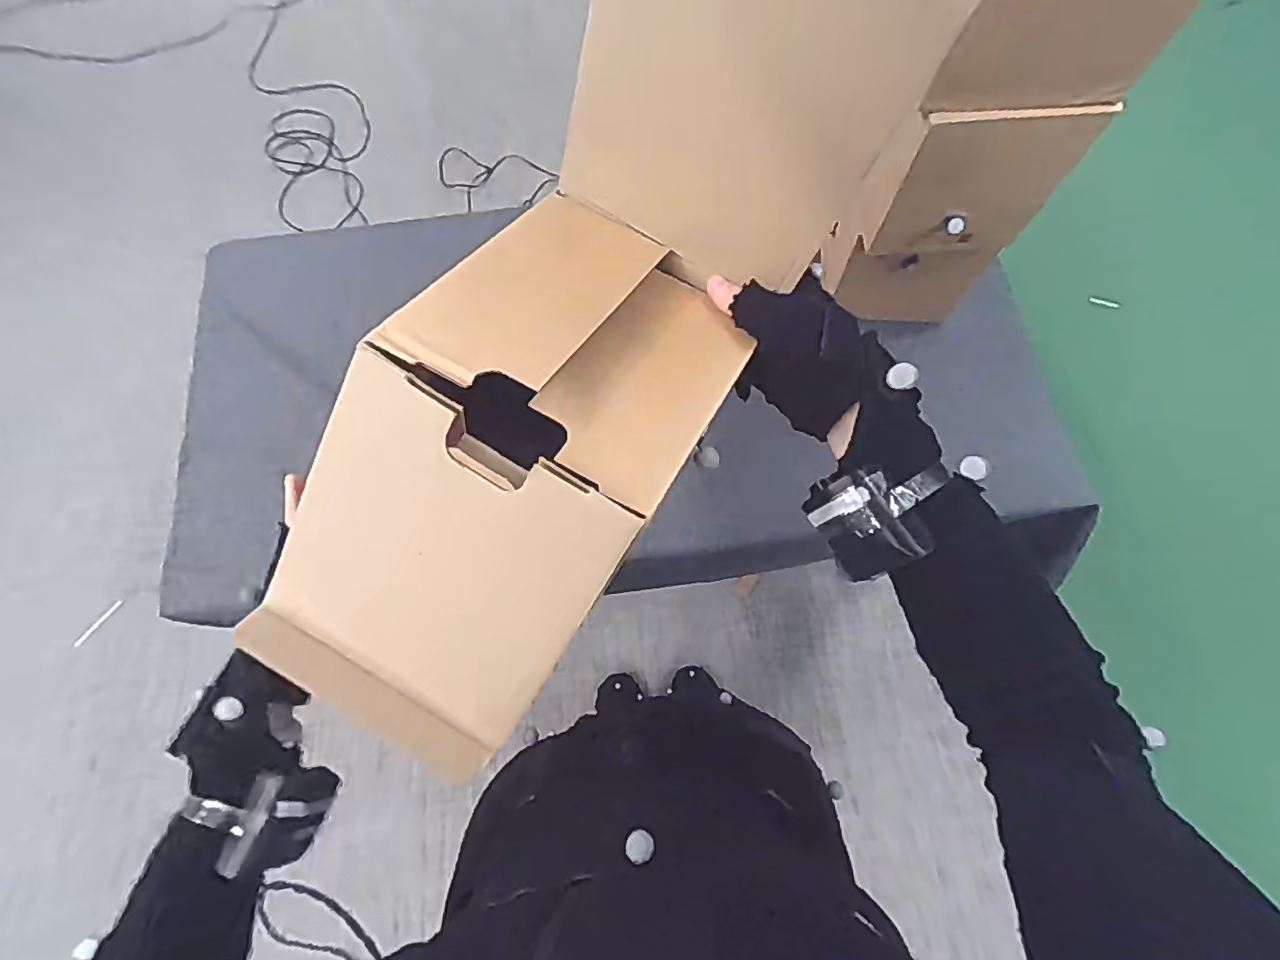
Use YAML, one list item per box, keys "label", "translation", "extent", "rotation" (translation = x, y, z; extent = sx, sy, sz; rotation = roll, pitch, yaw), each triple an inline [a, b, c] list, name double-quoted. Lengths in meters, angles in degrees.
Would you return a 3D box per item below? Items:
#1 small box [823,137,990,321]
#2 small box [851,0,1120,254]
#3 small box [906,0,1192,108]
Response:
- label: "small box"
  translation: [0.354, -0.334, 0.733]
  extent: [0.179, 0.176, 0.168]
  rotation: [4, 72, 4]
- label: "small box"
  translation: [0.338, -0.370, 0.573]
  extent: [0.168, 0.176, 0.179]
  rotation: [-2, 72, 3]
- label: "small box"
  translation: [0.326, -0.424, 0.420]
  extent: [0.179, 0.176, 0.168]
  rotation: [1, 72, 3]
